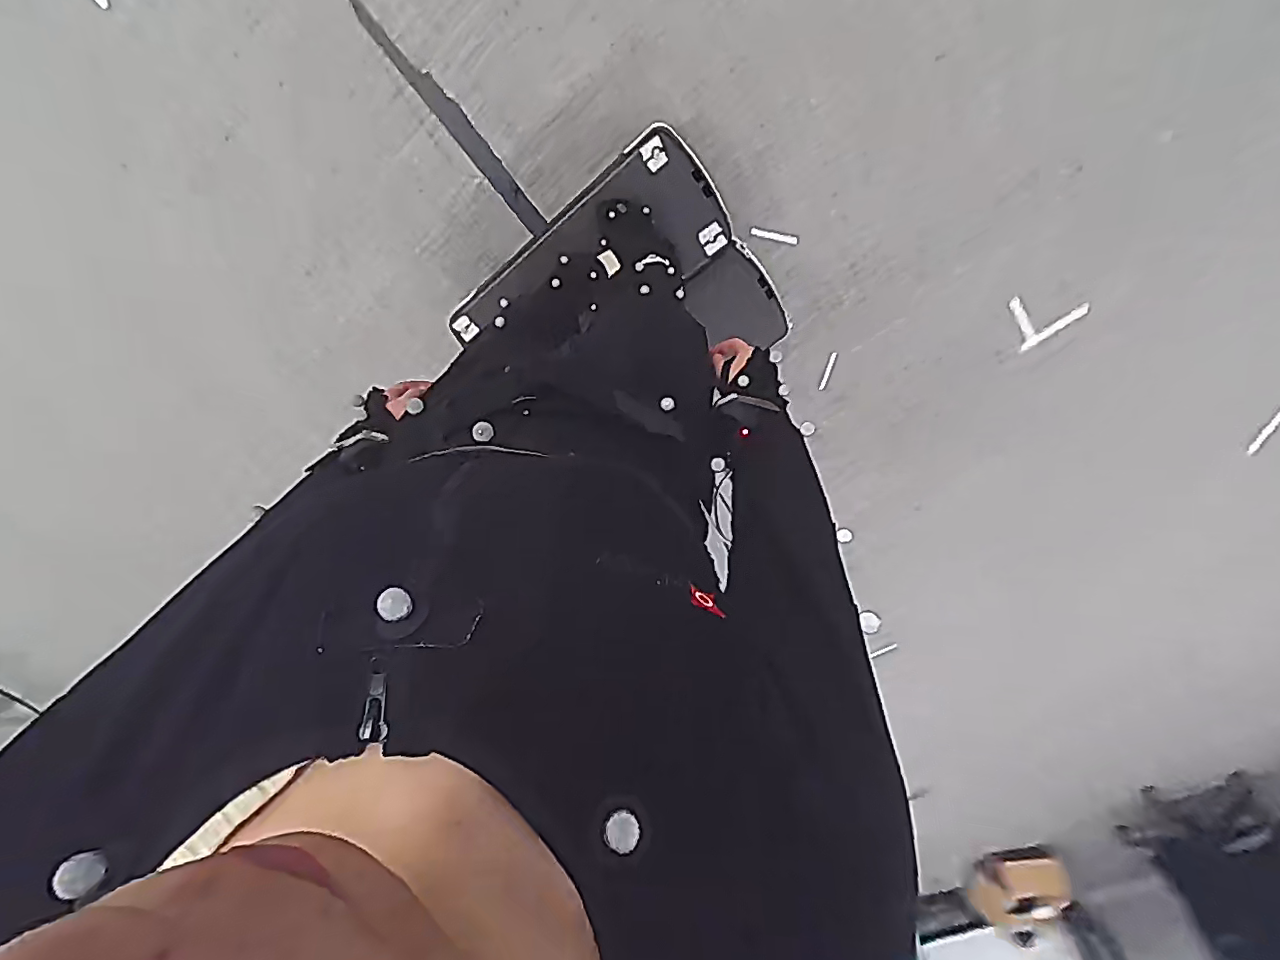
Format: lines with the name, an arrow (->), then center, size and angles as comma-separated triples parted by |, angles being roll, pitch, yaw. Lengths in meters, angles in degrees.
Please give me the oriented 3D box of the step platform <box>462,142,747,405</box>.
step platform -> -0.091, -0.470, 1.296 | 0.684, 0.204, 0.286 | -31, 116, 17
